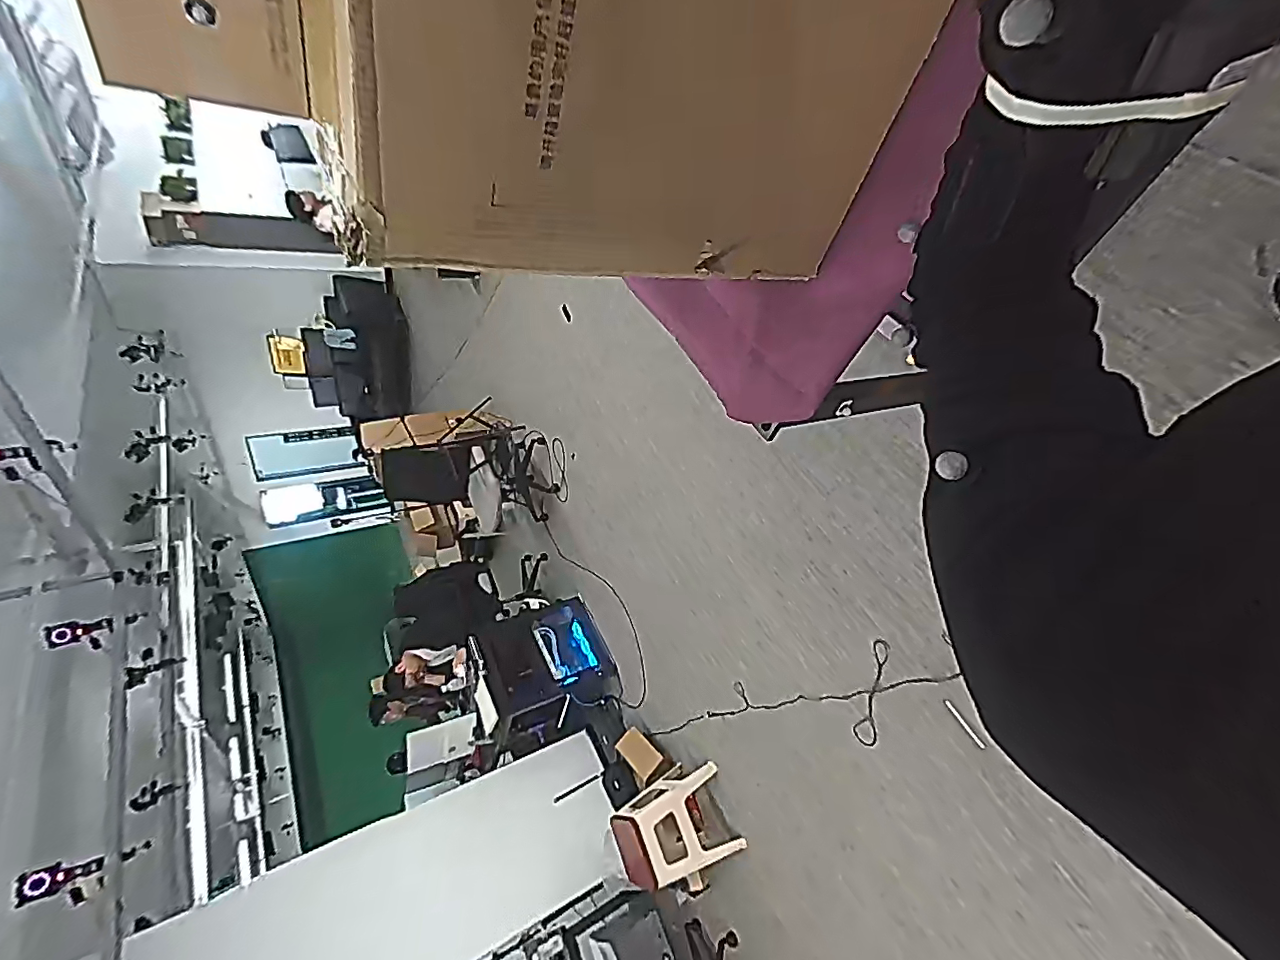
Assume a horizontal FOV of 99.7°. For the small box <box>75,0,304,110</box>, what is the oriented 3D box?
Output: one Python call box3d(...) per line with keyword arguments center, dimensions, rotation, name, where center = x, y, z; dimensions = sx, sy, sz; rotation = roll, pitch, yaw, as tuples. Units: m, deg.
box3d(center=(-0.438, -0.489, 0.525), dimensions=(0.179, 0.176, 0.168), rotation=(58, 142, 30), name="small box")
